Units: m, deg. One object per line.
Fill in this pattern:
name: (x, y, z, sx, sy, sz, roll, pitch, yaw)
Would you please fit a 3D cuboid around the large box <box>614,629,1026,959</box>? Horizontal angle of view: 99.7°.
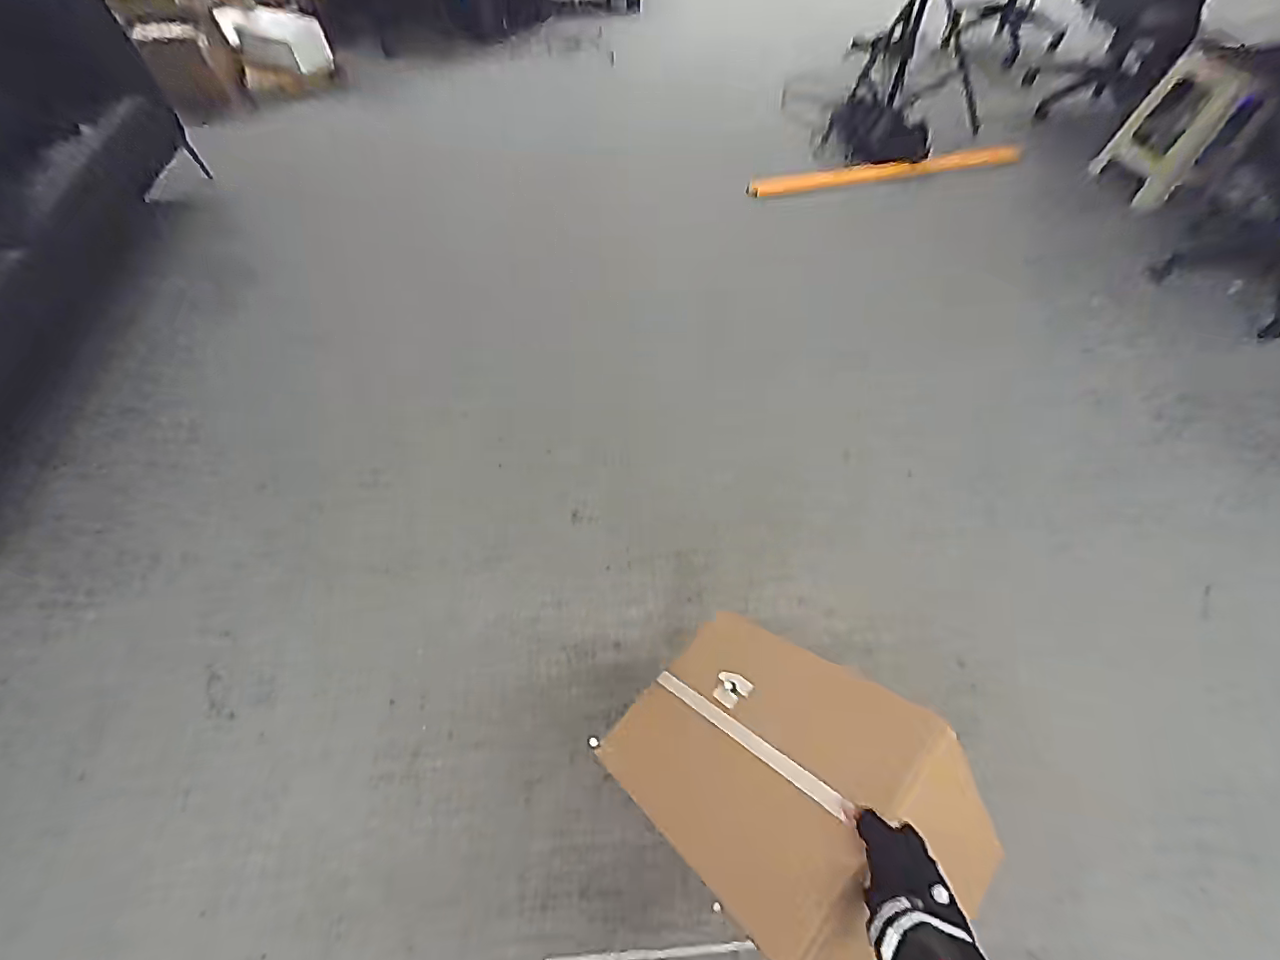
large box: (0.242, 0.485, 0.776, 0.320, 0.320, 0.408, -41, 24, -21)
